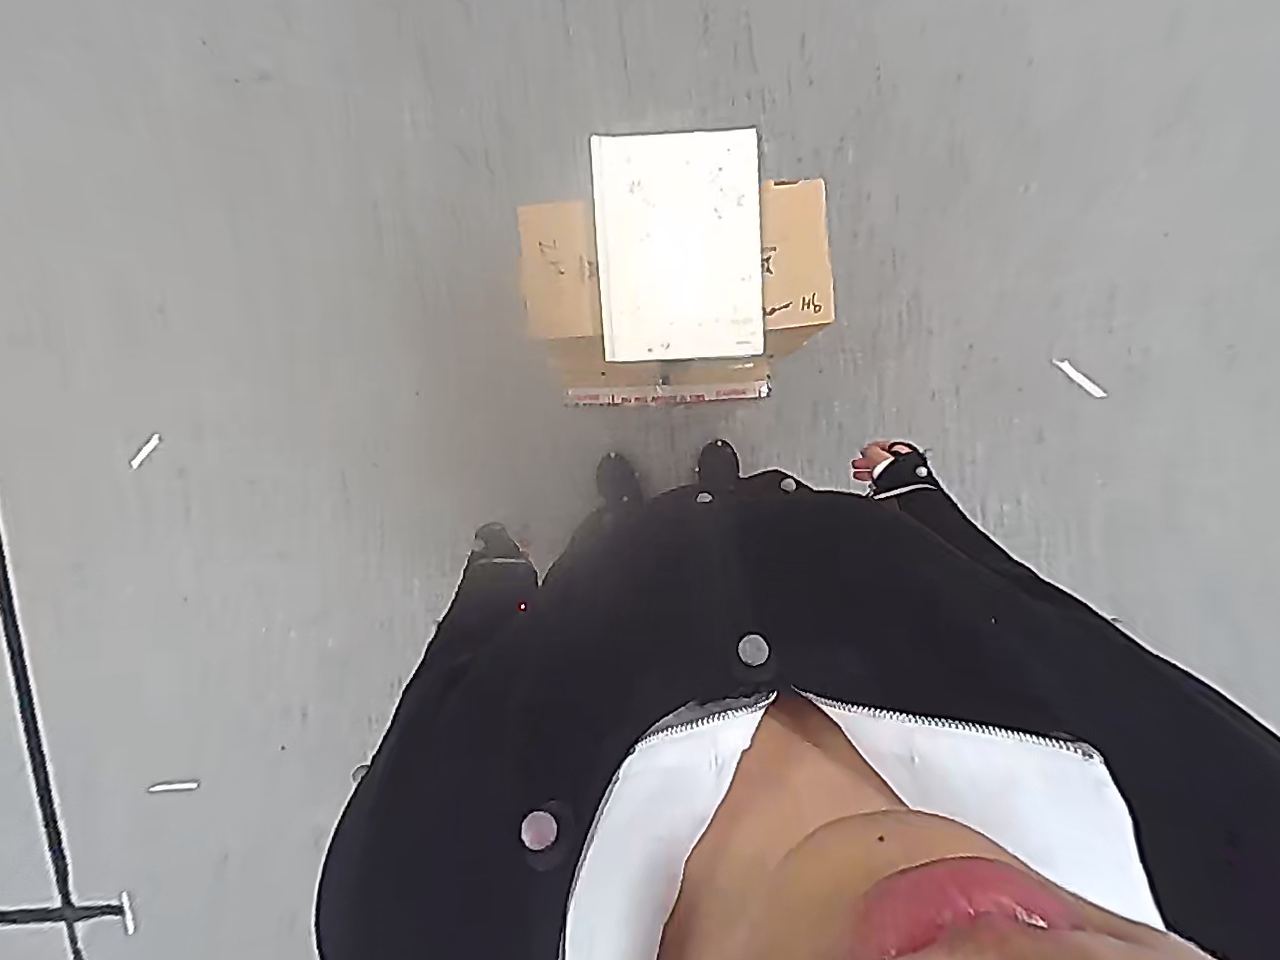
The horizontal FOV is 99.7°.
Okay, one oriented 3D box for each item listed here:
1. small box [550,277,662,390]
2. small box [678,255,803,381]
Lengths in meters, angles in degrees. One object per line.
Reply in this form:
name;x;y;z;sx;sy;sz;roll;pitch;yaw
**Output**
small box;-0.051;-0.246;0.936;0.179;0.176;0.168;1;96;4
small box;0.163;-0.266;0.926;0.179;0.176;0.168;-8;95;3
